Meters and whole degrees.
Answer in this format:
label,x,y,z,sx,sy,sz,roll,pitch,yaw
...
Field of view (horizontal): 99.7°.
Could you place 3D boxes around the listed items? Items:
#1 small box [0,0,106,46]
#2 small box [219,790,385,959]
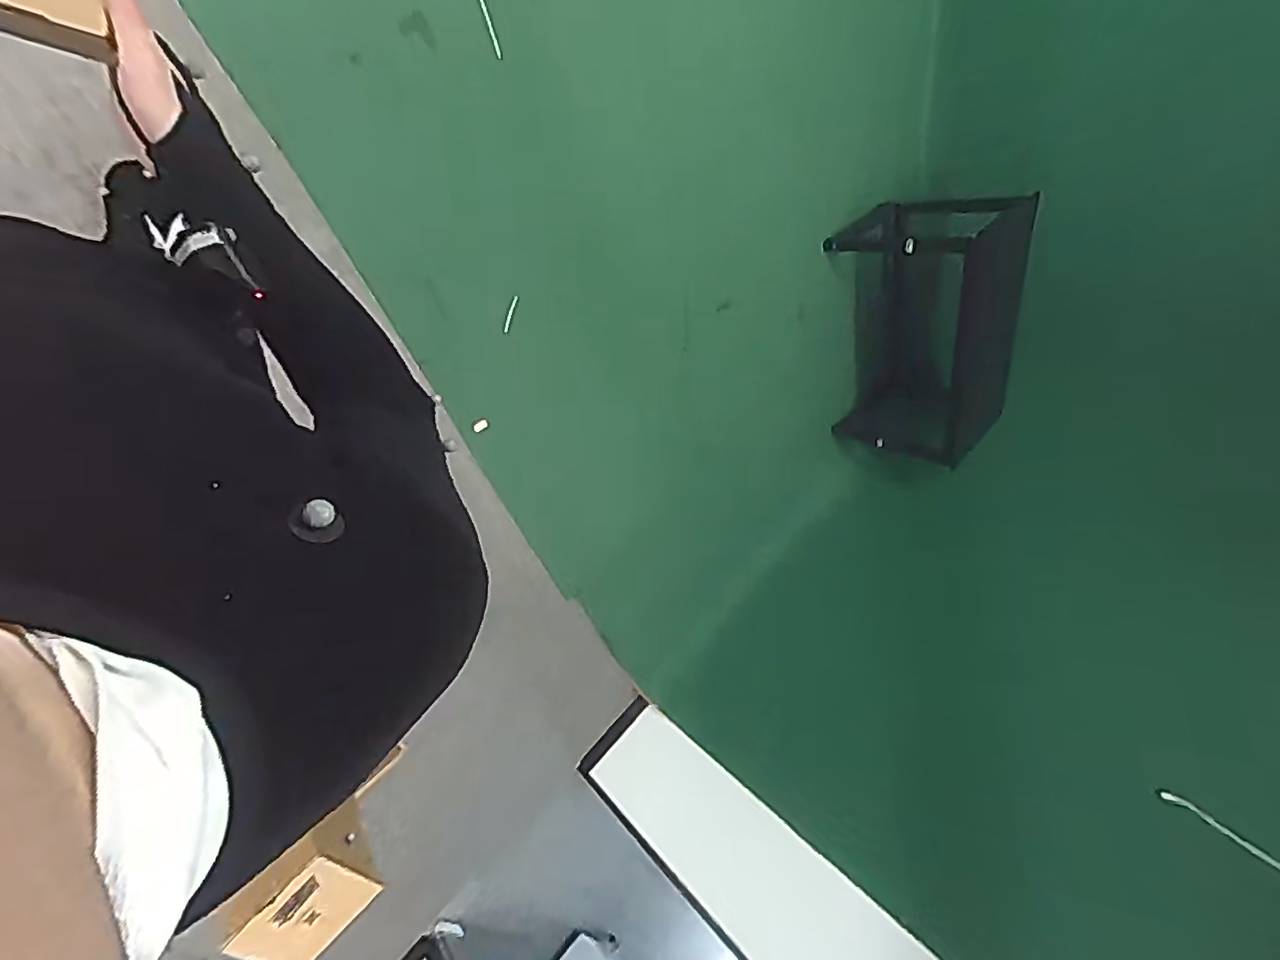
label,x,y,z,sx,sy,sz,roll,pitch,yaw
small box,-0.469,-0.415,0.347,0.168,0.176,0.179,-9,121,-42
small box,-0.587,0.682,0.938,0.168,0.176,0.179,-41,130,-22
